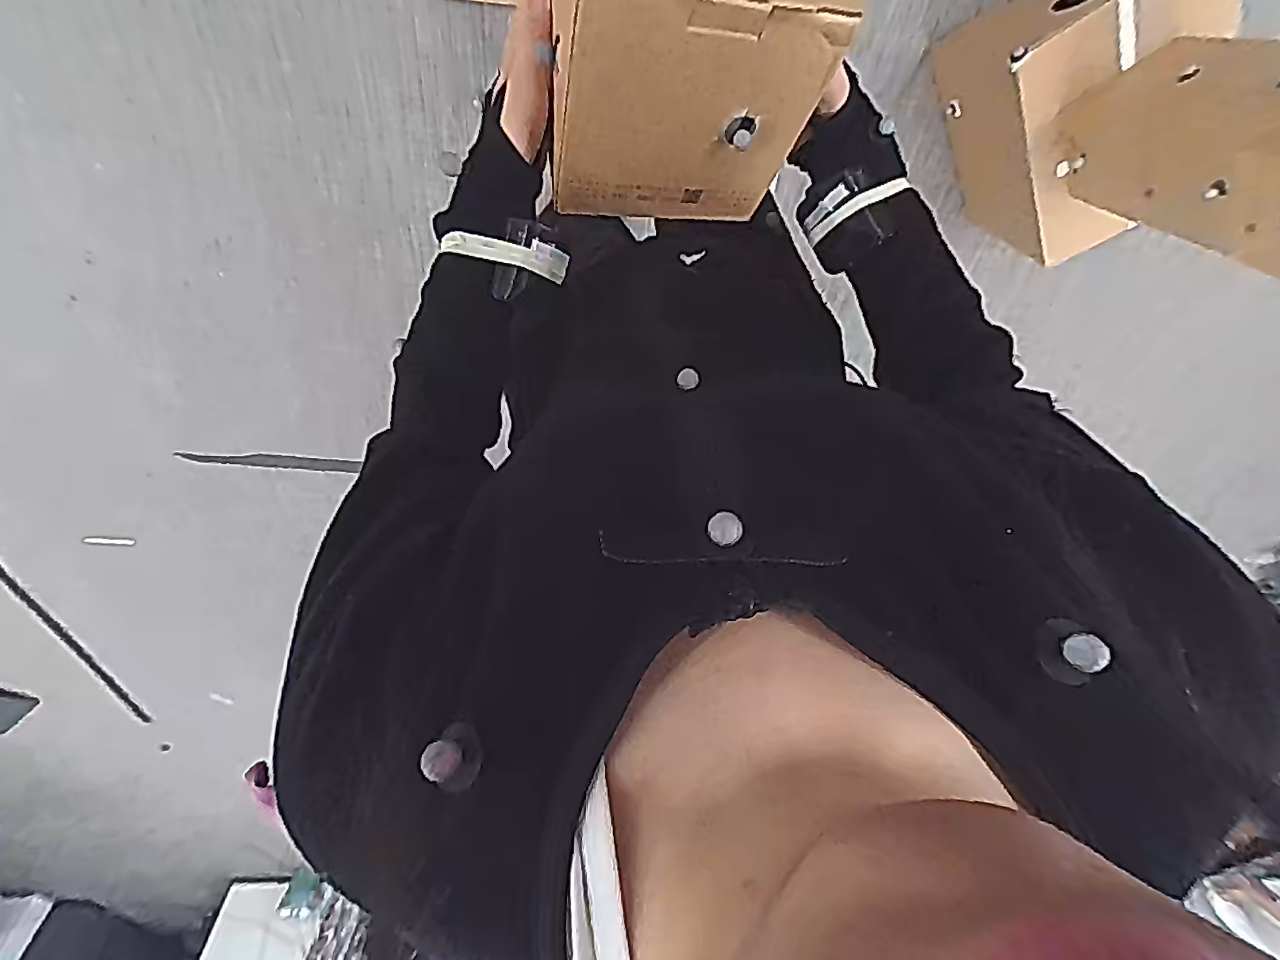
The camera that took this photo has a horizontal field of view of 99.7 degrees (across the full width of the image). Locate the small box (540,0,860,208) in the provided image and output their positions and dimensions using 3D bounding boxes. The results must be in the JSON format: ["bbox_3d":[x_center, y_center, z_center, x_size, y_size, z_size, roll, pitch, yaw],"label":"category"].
[{"bbox_3d":[0.020,-0.321,0.378,0.168,0.179,0.176,-3,167,-14],"label":"small box"}]

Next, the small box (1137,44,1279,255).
[{"bbox_3d":[0.826,-0.445,0.725,0.179,0.176,0.168,-29,126,19],"label":"small box"}]

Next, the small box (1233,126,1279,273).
[{"bbox_3d":[0.834,-0.336,0.604,0.179,0.176,0.168,-29,126,19],"label":"small box"}]

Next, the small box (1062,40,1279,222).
[{"bbox_3d":[0.816,-0.550,0.850,0.179,0.176,0.168,-28,126,20],"label":"small box"}]
